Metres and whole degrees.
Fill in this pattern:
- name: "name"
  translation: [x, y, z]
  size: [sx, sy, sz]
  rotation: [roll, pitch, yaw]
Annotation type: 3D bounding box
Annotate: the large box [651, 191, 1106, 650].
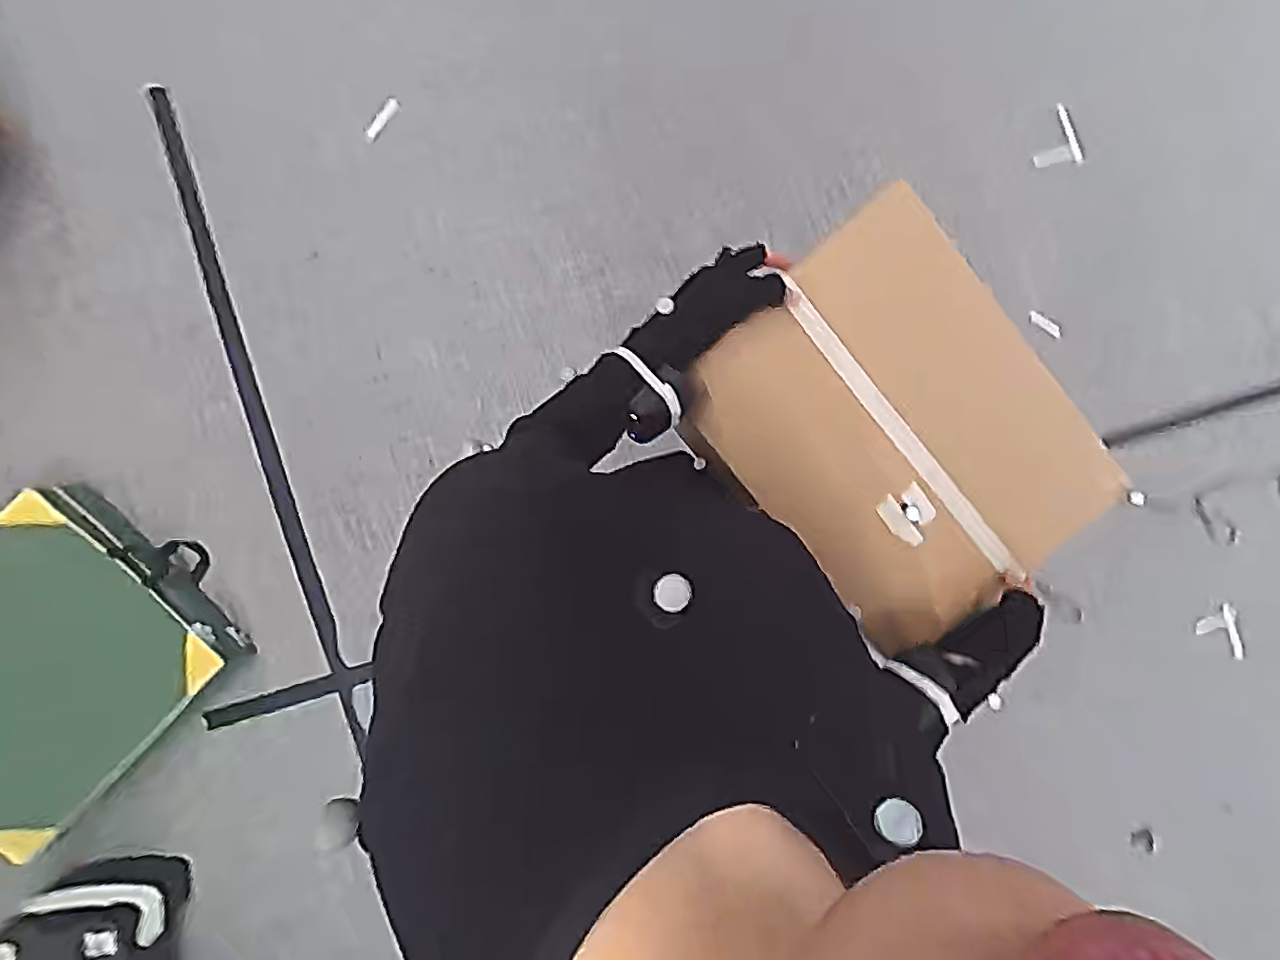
- name: "large box"
  translation: [0.260, -0.069, 0.723]
  size: [0.320, 0.320, 0.408]
  rotation: [-39, 95, 4]
